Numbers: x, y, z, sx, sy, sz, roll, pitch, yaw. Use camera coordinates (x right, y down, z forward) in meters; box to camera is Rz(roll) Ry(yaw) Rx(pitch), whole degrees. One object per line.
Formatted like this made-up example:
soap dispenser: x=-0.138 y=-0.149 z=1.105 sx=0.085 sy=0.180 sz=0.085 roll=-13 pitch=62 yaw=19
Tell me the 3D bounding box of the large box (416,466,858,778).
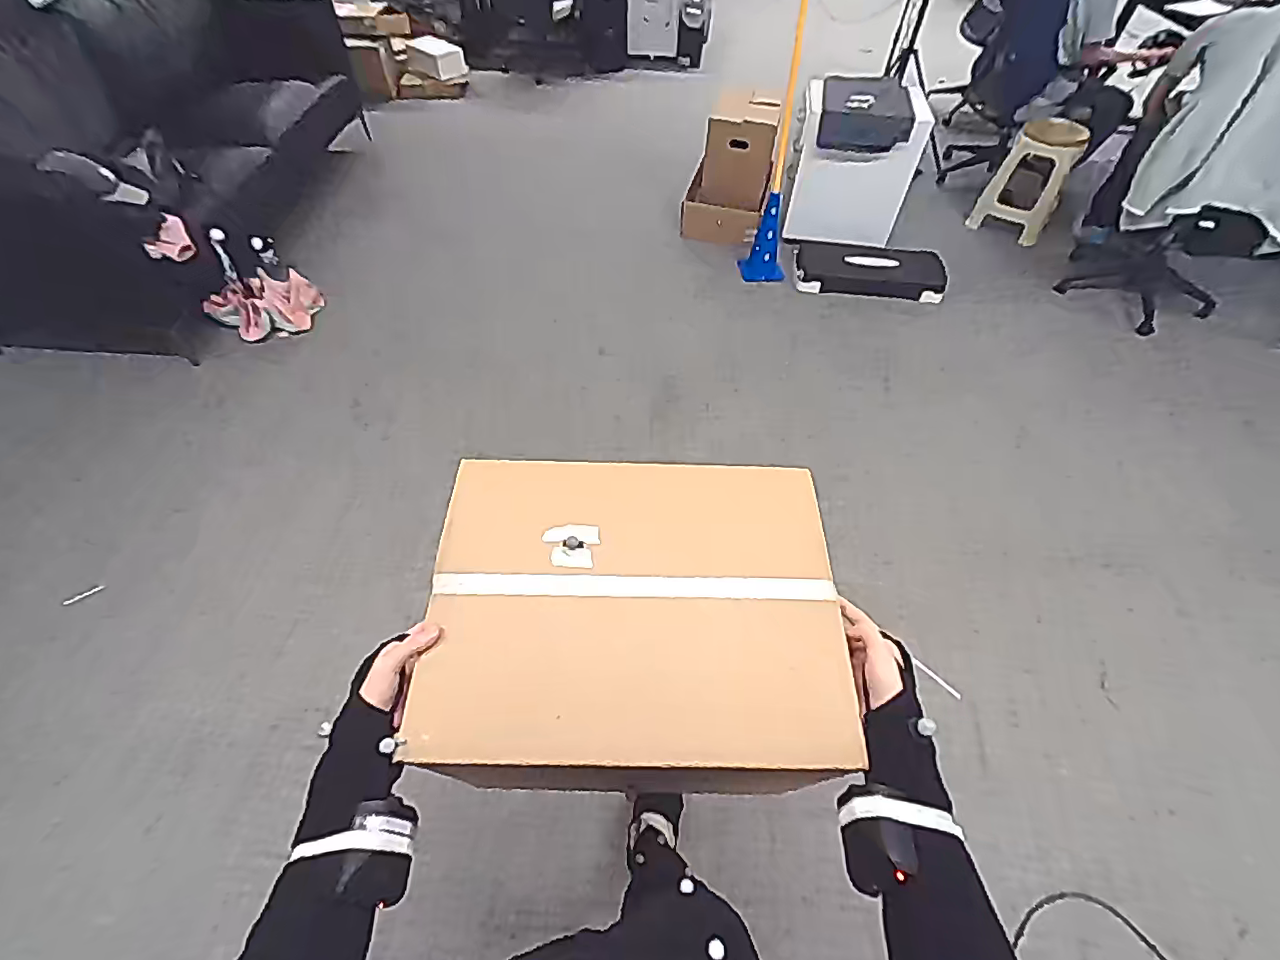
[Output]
large box: x=-0.002 y=0.193 z=0.685 sx=0.408 sy=0.320 sz=0.320 roll=1 pitch=56 yaw=0
